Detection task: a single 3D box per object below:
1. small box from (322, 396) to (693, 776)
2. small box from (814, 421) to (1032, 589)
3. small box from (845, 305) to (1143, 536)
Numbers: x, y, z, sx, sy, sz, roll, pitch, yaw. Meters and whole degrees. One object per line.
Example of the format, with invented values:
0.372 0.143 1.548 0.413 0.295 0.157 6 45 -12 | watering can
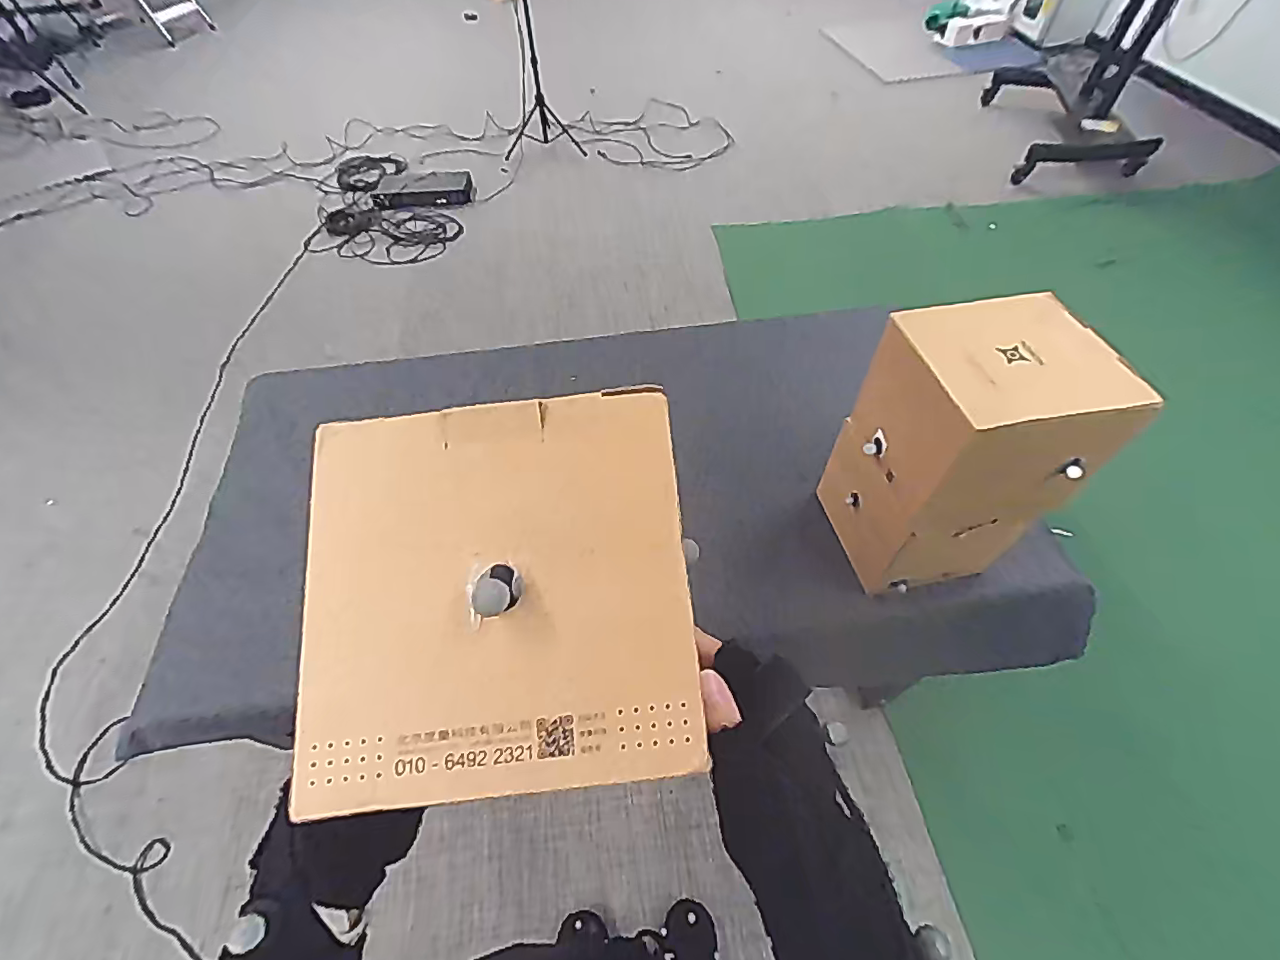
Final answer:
-0.064 0.067 0.324 0.168 0.179 0.176 -4 74 -2 | small box
0.353 0.029 0.716 0.168 0.176 0.179 -10 53 -6 | small box
0.350 -0.059 0.580 0.179 0.176 0.168 -9 52 -4 | small box
